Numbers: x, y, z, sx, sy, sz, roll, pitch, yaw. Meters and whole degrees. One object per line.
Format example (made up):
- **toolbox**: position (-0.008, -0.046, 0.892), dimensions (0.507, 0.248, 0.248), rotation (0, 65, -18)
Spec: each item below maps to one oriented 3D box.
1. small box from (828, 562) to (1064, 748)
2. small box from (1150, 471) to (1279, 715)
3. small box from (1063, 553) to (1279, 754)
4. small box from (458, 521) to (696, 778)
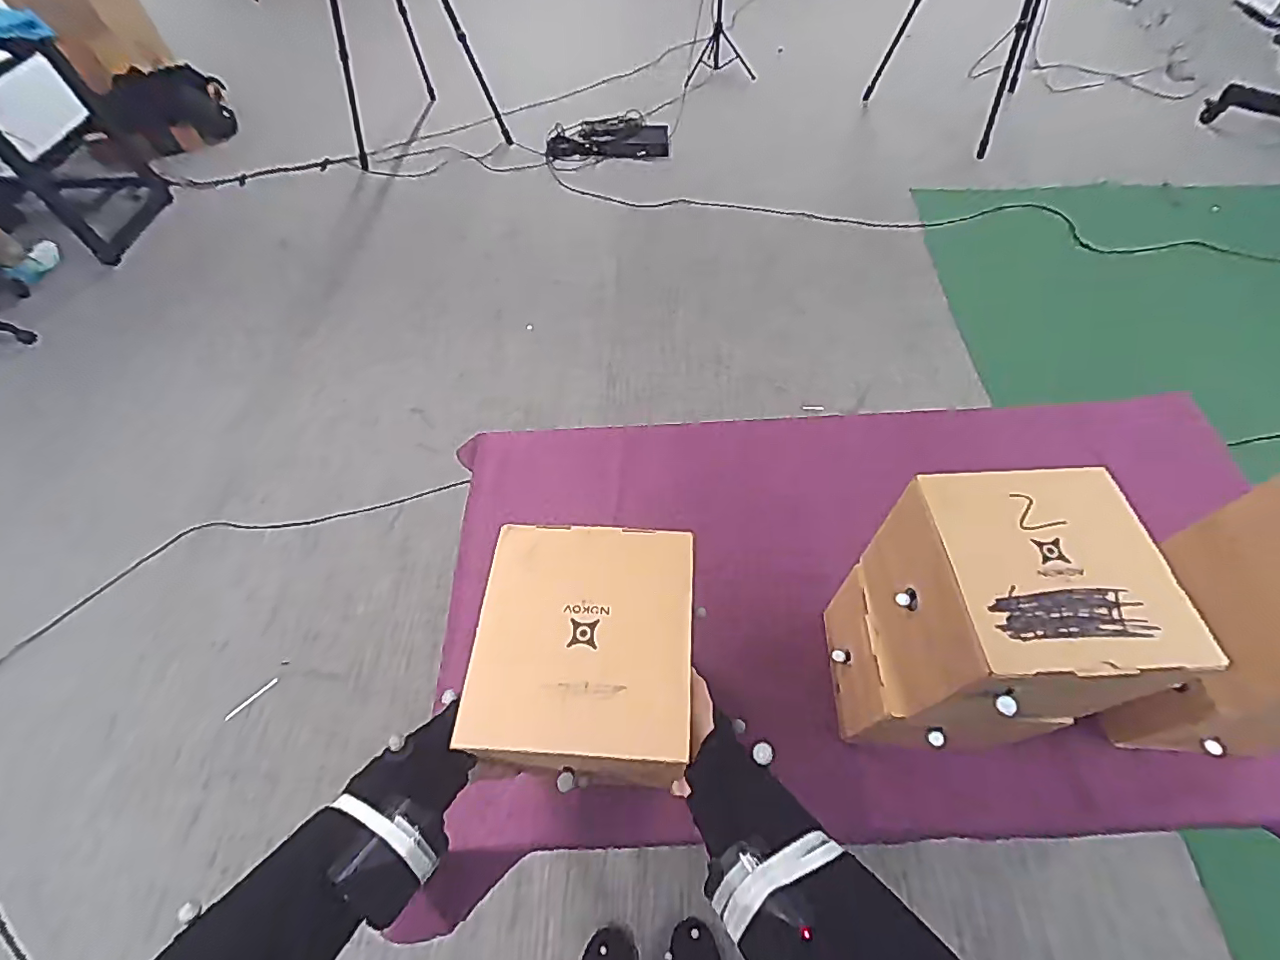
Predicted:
- **small box**: position (0.329, 0.208, 0.631), dimensions (0.179, 0.176, 0.168), rotation (1, 56, 4)
- **small box**: position (0.633, 0.110, 0.483), dimensions (0.168, 0.176, 0.179), rotation (1, 56, 3)
- **small box**: position (0.640, 0.201, 0.620), dimensions (0.168, 0.176, 0.179), rotation (2, 56, 5)
- **small box**: position (-0.039, 0.156, 0.486), dimensions (0.168, 0.176, 0.179), rotation (3, 57, 4)
